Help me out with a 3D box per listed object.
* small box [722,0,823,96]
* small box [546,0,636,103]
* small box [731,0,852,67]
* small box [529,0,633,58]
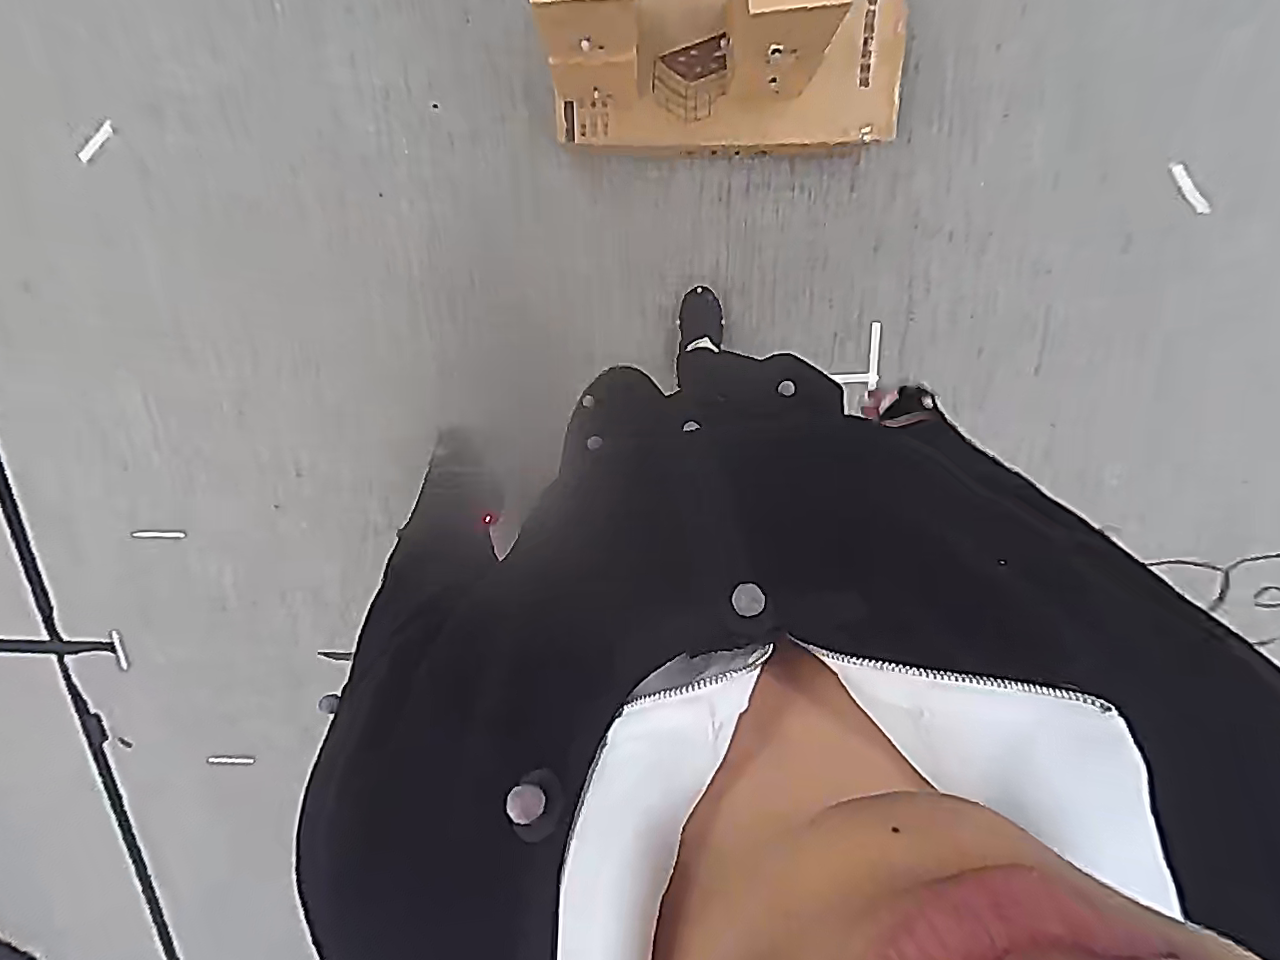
[{"bbox_3d":[0.255,-0.877,1.056,0.168,0.176,0.179,-2,106,0],"label":"small box"},{"bbox_3d":[-0.093,-0.873,1.059,0.168,0.176,0.179,-1,105,1],"label":"small box"},{"bbox_3d":[0.244,-0.833,0.900,0.168,0.176,0.179,-5,106,3],"label":"small box"},{"bbox_3d":[-0.096,-0.845,0.897,0.168,0.176,0.179,-2,106,1],"label":"small box"}]
